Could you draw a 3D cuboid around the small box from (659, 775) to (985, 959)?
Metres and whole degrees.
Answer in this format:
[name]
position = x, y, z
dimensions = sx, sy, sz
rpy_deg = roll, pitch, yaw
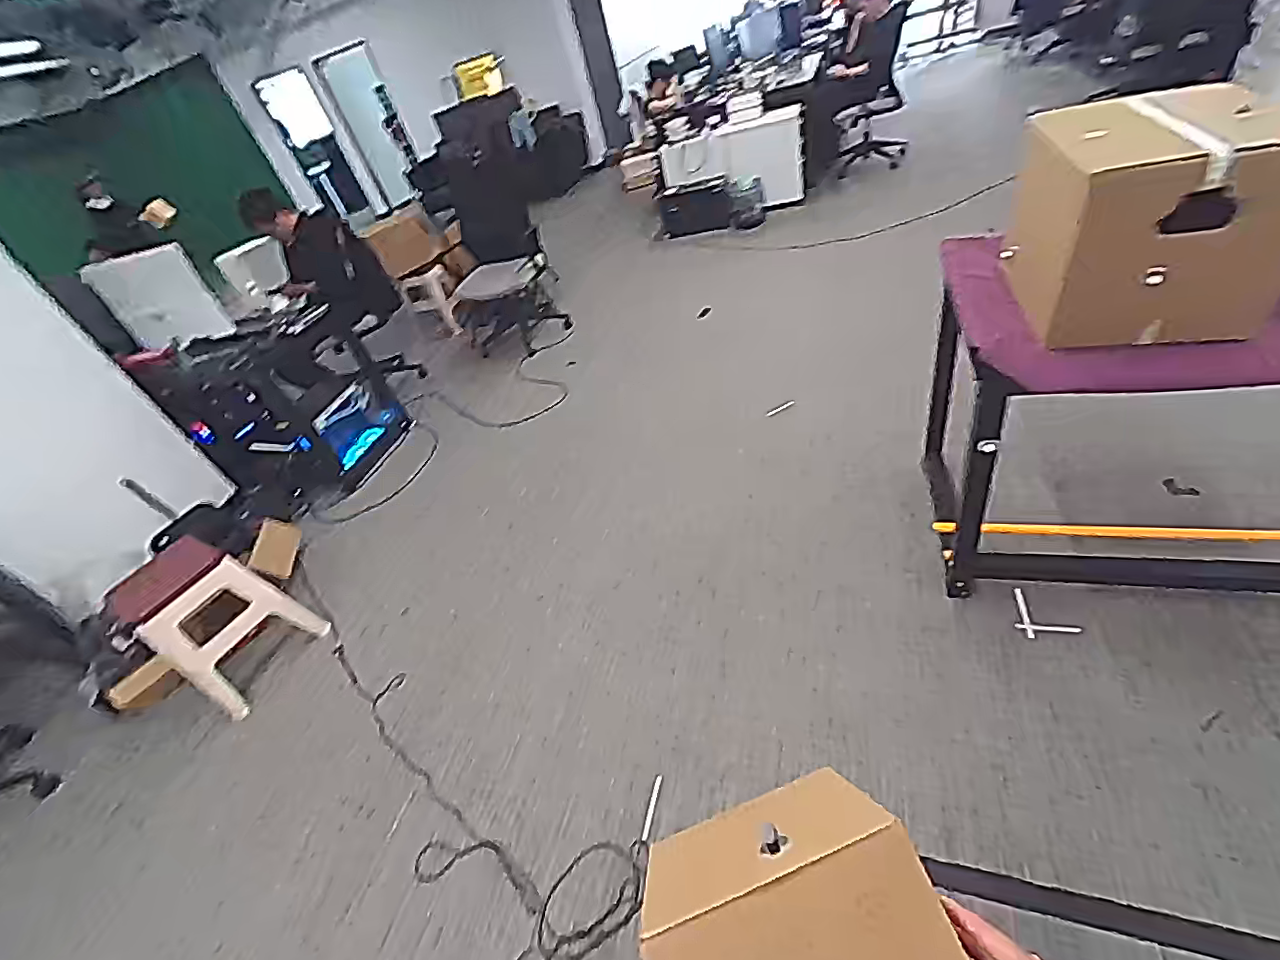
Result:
[small box]
position = 0.121, 0.331, 0.375
dimensions = 0.179, 0.176, 0.168
rpy_deg = -21, 71, -3
